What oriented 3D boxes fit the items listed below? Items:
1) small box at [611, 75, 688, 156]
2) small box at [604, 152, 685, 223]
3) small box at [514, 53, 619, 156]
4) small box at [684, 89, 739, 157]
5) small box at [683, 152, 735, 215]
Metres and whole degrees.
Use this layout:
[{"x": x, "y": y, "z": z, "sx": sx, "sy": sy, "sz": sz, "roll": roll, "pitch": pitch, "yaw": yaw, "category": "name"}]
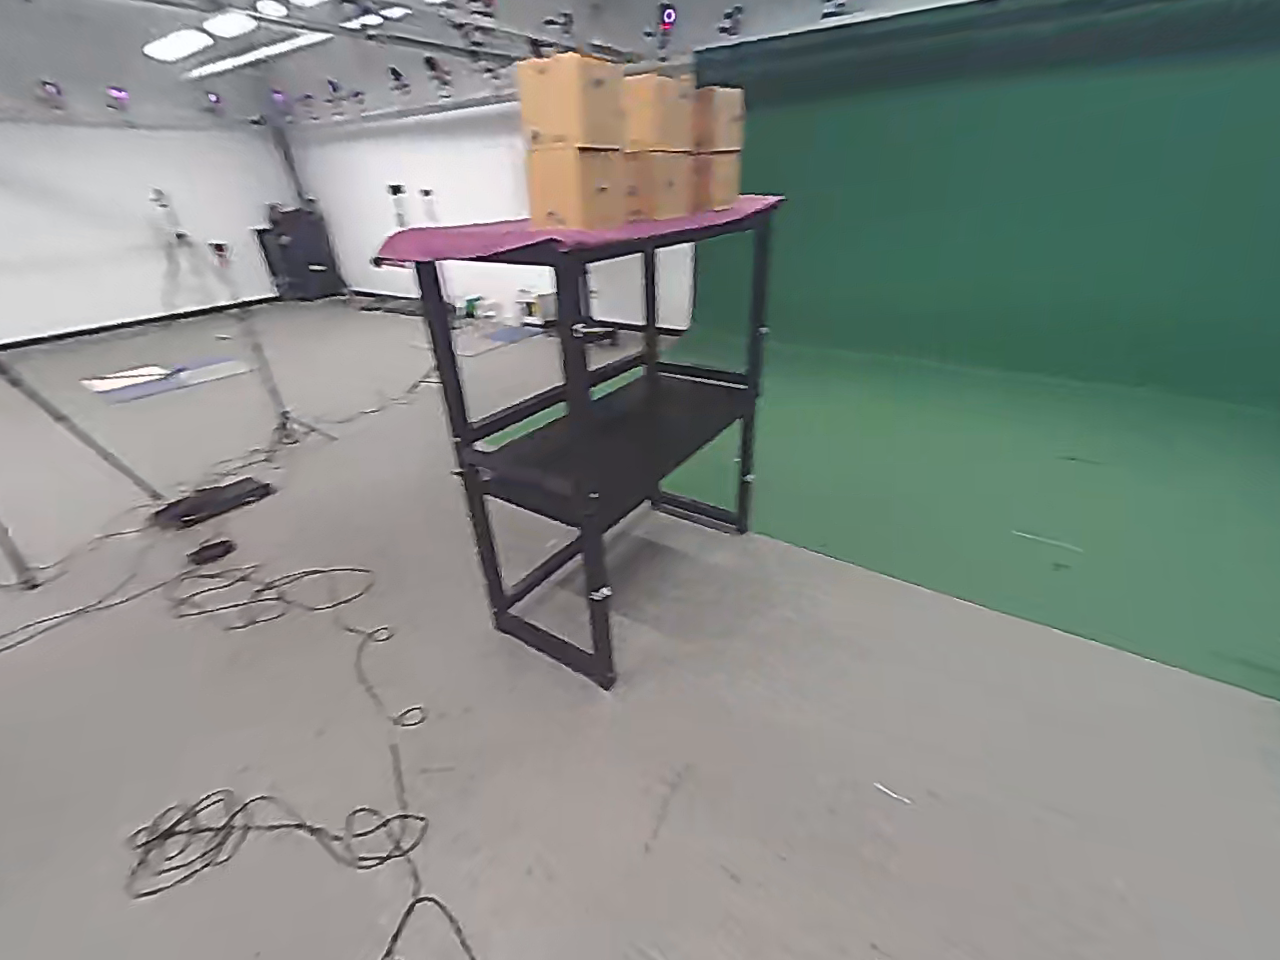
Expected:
[{"x": 0.019, "y": -0.985, "z": 1.481, "sx": 0.168, "sy": 0.176, "sz": 0.179, "roll": 19, "pitch": 35, "yaw": 34, "category": "small box"}, {"x": 0.019, "y": -0.842, "z": 1.560, "sx": 0.168, "sy": 0.176, "sz": 0.179, "roll": 18, "pitch": 35, "yaw": 31, "category": "small box"}, {"x": -0.156, "y": -0.838, "z": 1.223, "sx": 0.168, "sy": 0.176, "sz": 0.179, "roll": 15, "pitch": 33, "yaw": 27, "category": "small box"}, {"x": 0.201, "y": -1.126, "z": 1.717, "sx": 0.168, "sy": 0.176, "sz": 0.179, "roll": 14, "pitch": 36, "yaw": 32, "category": "small box"}, {"x": 0.202, "y": -0.989, "z": 1.806, "sx": 0.179, "sy": 0.176, "sz": 0.168, "roll": 16, "pitch": 35, "yaw": 32, "category": "small box"}]
